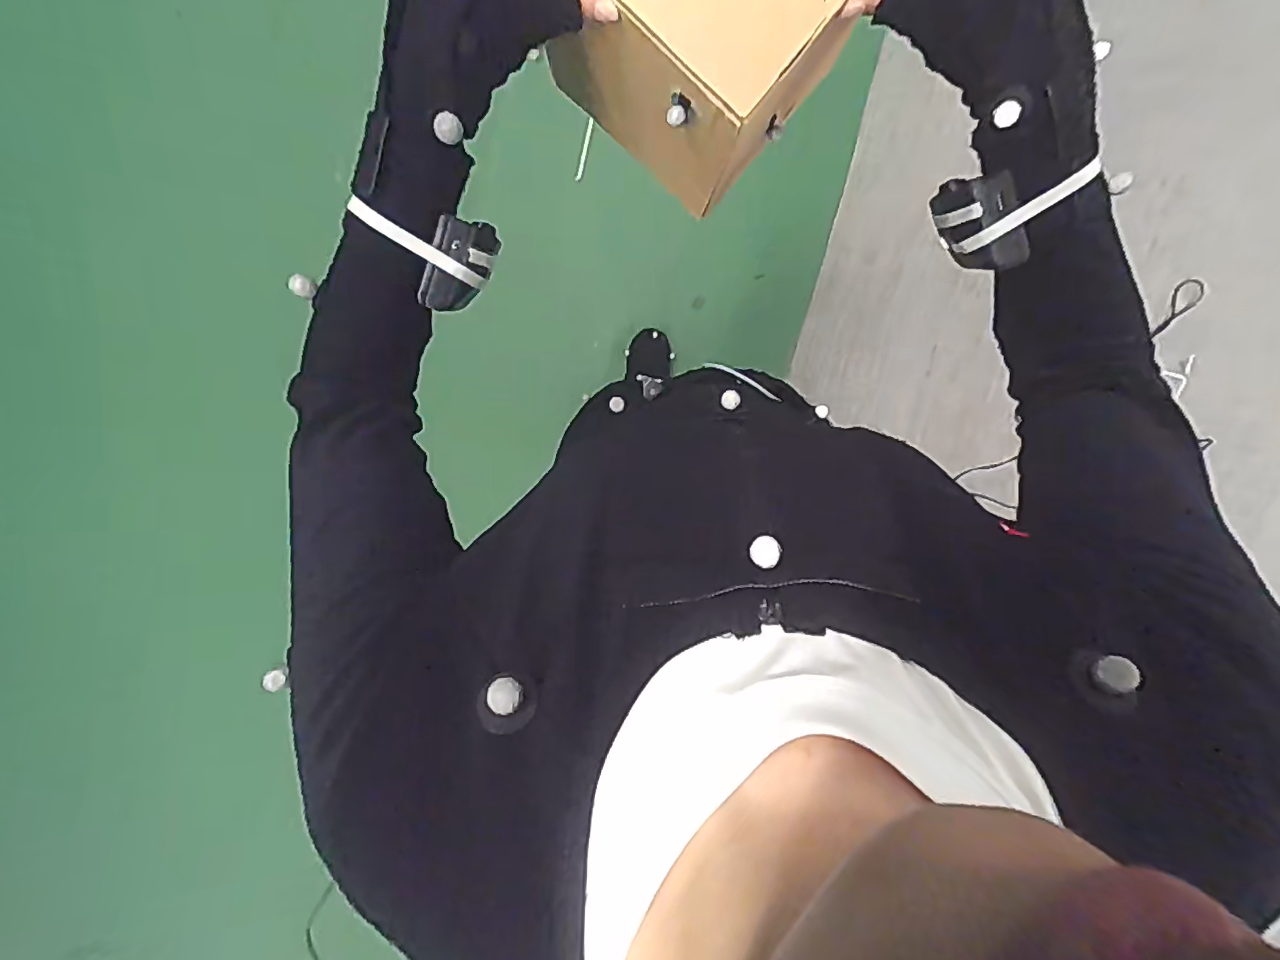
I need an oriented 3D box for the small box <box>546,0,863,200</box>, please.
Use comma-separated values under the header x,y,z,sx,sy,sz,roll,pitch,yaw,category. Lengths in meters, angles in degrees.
x,y,z,sx,sy,sz,roll,pitch,yaw,category
0.044,-0.343,0.386,0.179,0.176,0.168,41,94,-8,small box
